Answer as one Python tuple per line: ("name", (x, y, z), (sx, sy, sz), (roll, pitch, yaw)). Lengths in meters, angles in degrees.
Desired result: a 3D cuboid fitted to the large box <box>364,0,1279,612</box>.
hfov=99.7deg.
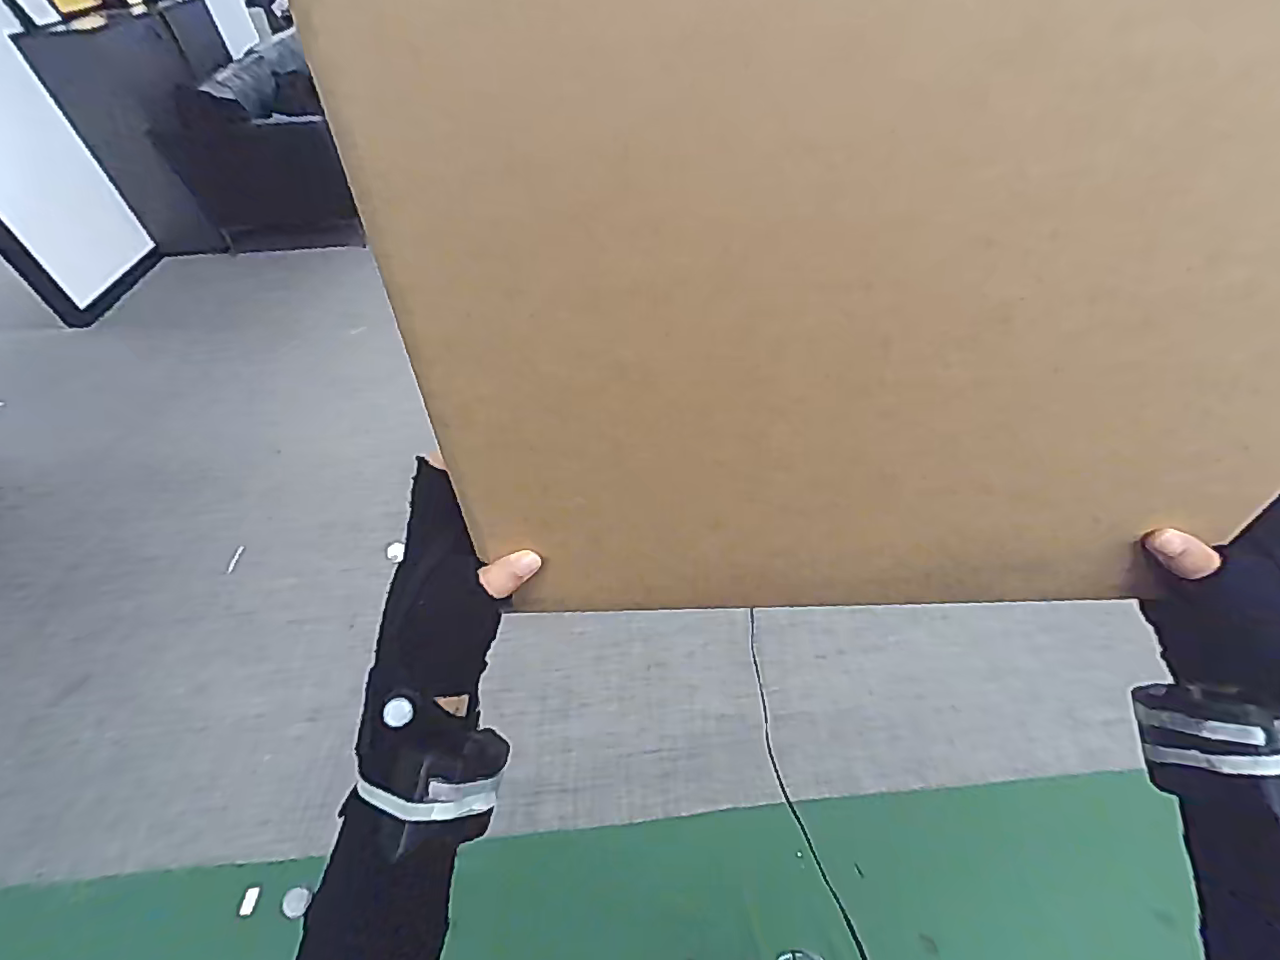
("large box", (0.114, -0.137, 0.339), (0.408, 0.320, 0.320), (-1, 42, -1))
